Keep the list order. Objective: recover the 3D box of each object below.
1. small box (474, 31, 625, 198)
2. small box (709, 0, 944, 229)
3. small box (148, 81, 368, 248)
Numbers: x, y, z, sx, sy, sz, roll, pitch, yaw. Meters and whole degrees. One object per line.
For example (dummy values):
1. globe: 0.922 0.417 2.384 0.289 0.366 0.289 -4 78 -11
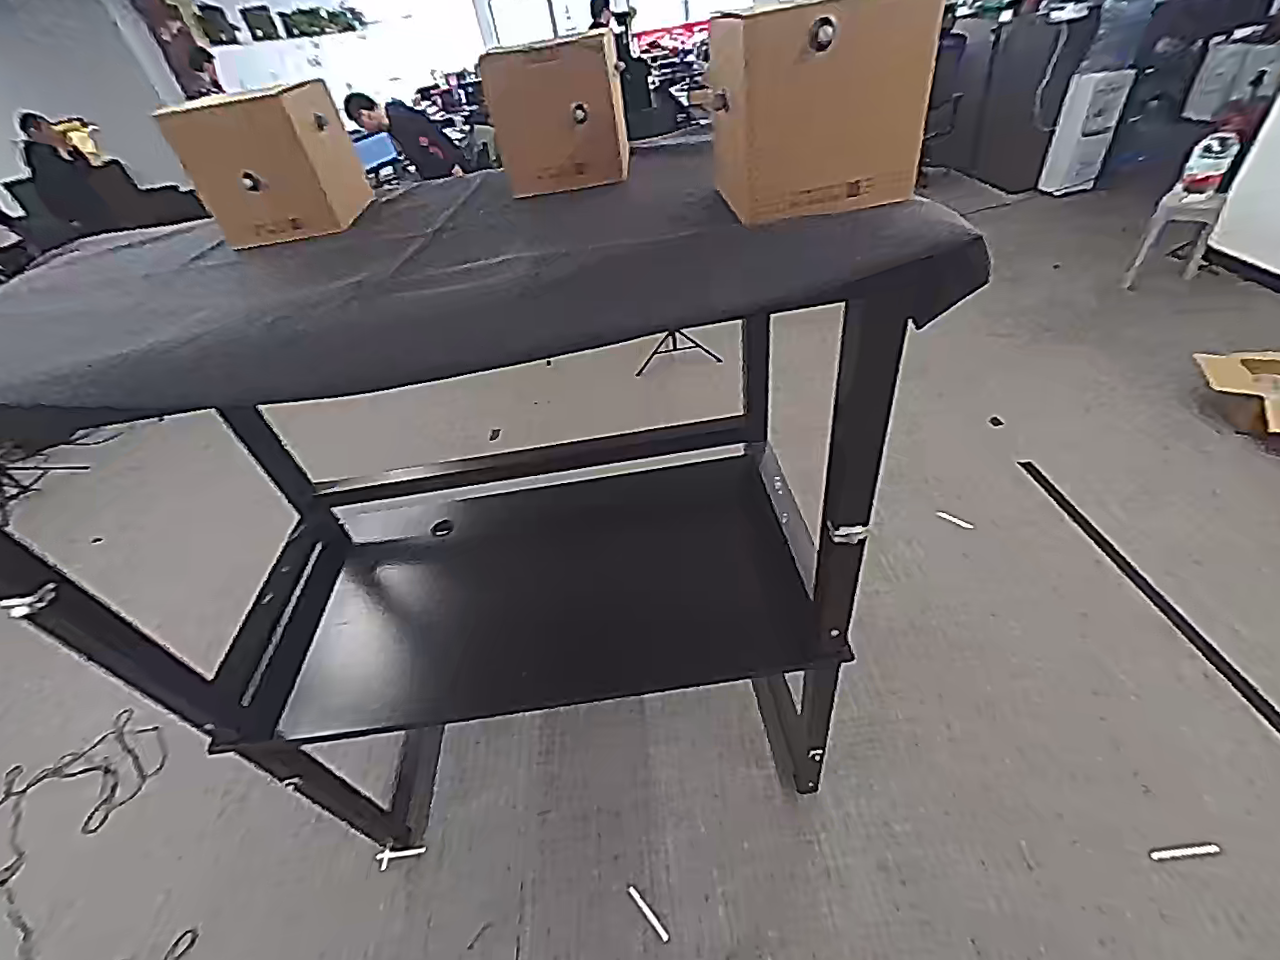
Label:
1. small box: -0.115 -0.518 0.775 0.168 0.176 0.179 -5 41 5
2. small box: 0.167 -0.369 0.543 0.168 0.176 0.179 -10 40 2
3. small box: -0.521 -0.446 0.776 0.168 0.176 0.179 -9 42 1
